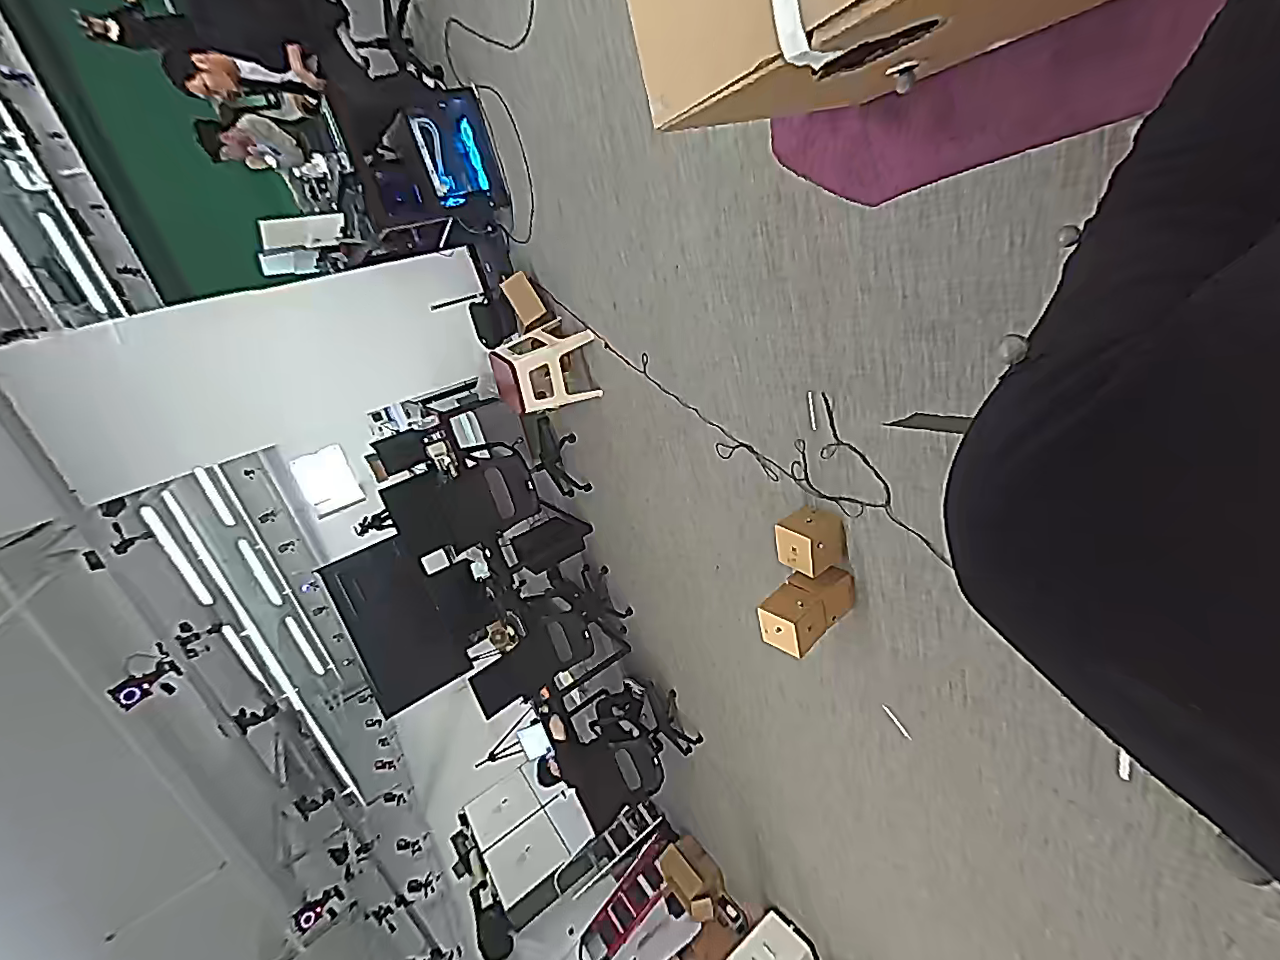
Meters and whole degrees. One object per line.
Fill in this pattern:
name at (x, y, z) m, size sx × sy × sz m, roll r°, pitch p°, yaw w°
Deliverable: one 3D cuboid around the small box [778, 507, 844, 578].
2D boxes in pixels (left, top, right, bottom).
small box at (0.634, 0.224, 1.991) m, size 0.168 × 0.176 × 0.179 m, roll 26°, pitch 136°, yaw 52°
